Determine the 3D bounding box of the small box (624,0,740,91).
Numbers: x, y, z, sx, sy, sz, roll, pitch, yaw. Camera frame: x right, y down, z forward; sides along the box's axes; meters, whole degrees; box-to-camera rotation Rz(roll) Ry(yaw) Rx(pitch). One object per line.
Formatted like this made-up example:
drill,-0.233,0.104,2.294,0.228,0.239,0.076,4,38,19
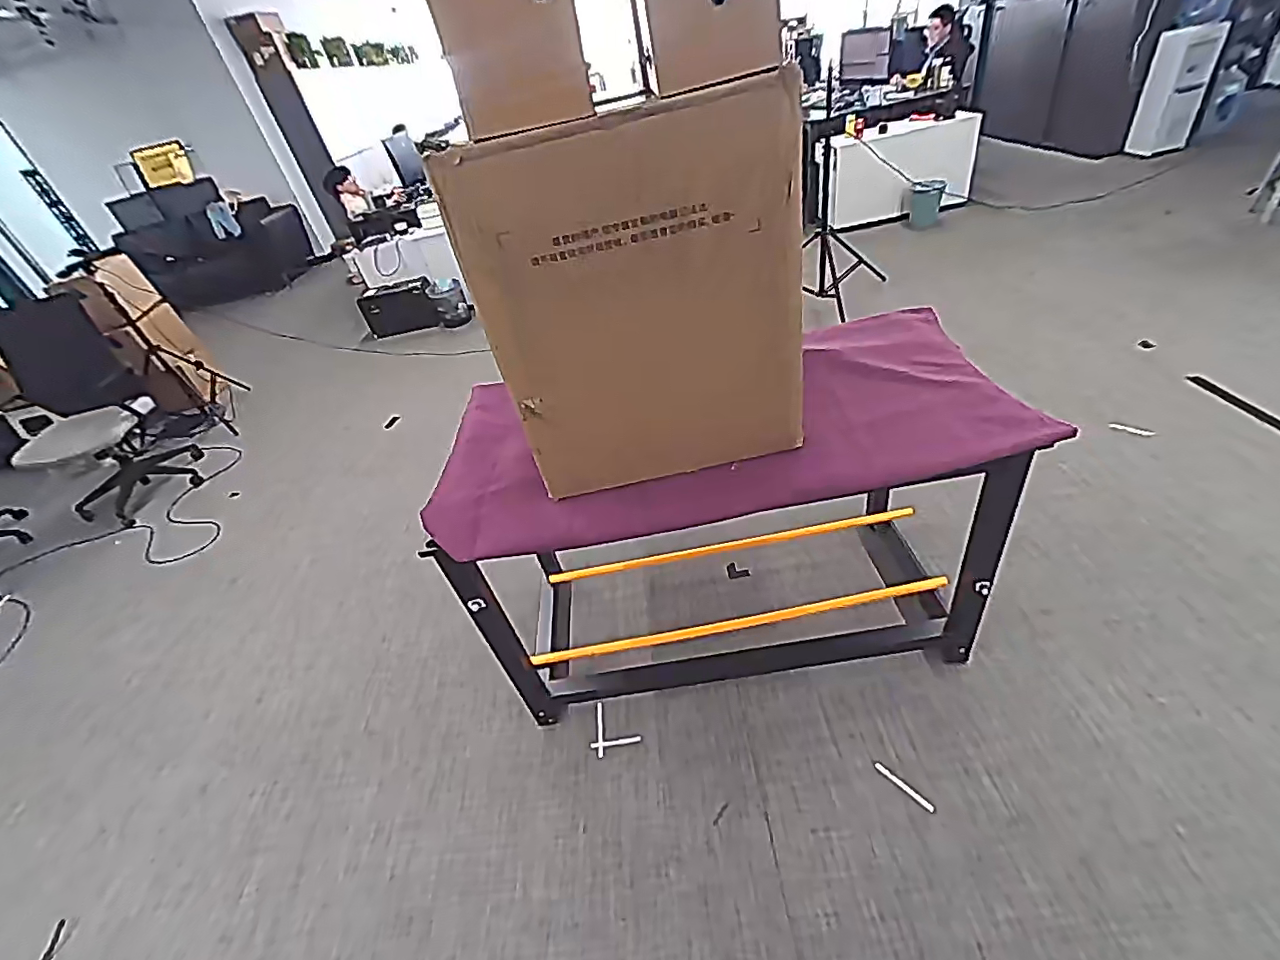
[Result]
small box,0.063,-0.760,0.890,0.168,0.176,0.179,-11,38,5
